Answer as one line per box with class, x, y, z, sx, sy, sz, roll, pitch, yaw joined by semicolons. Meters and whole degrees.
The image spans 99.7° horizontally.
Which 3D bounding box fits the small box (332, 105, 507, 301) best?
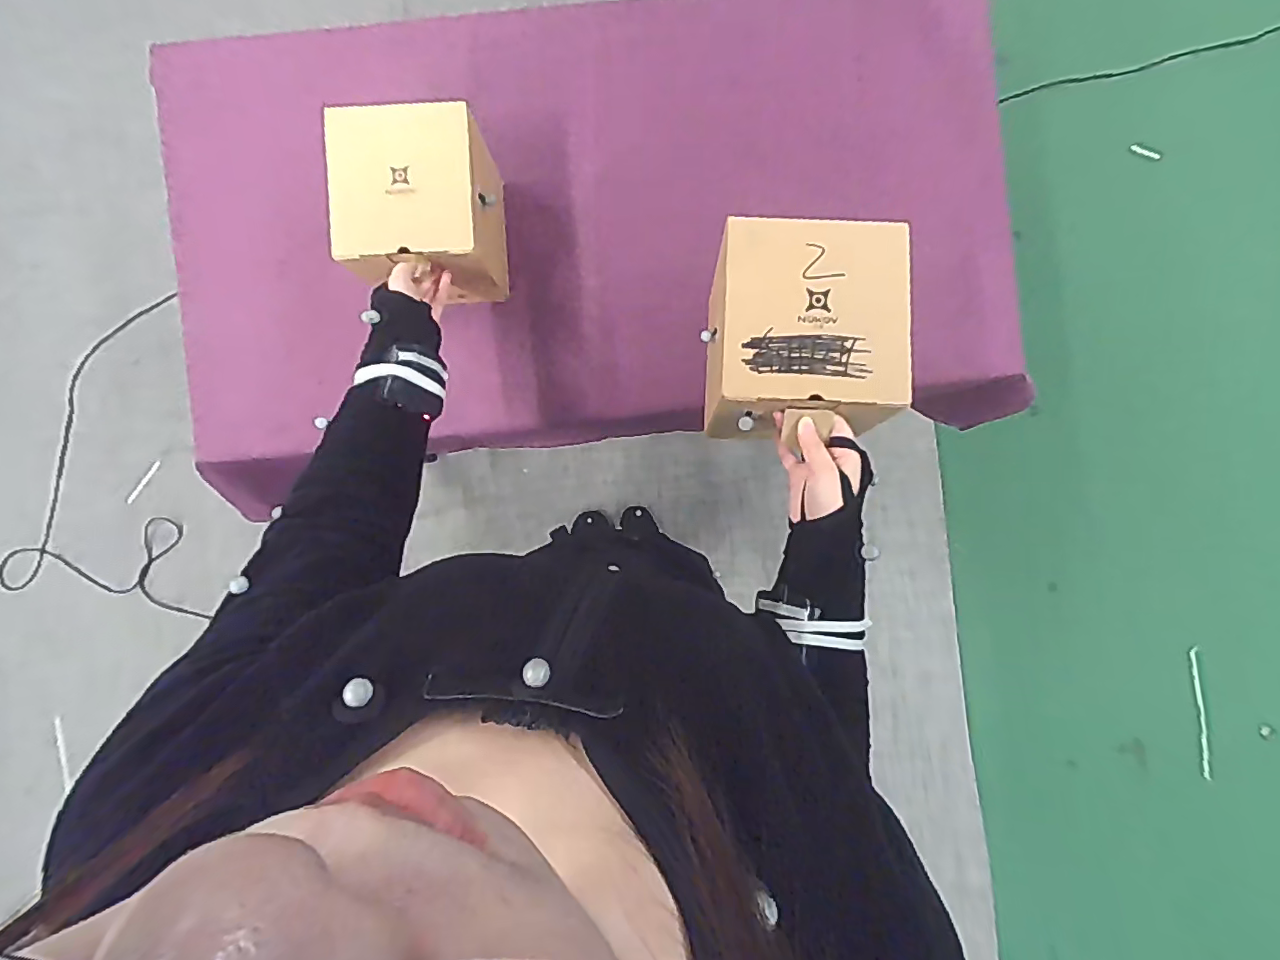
small box;-0.278;-0.352;0.714;0.168;0.176;0.179;-3;91;-1
